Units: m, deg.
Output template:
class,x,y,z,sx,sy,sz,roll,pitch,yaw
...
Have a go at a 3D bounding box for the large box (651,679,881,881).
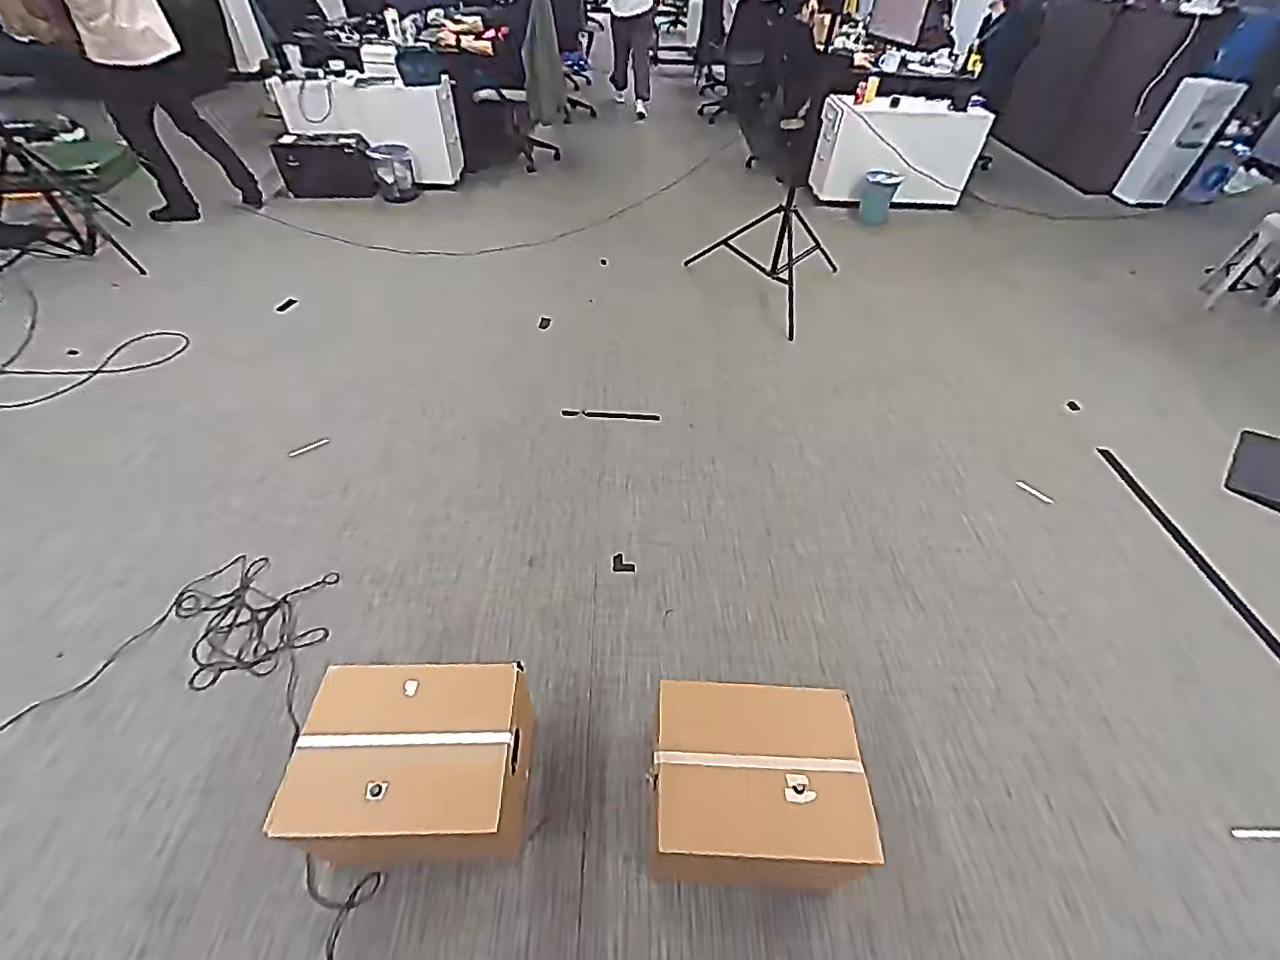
class,x,y,z,sx,sy,sz,roll,pitch,yaw
large box,0.231,0.654,1.175,0.408,0.320,0.320,4,47,-1
